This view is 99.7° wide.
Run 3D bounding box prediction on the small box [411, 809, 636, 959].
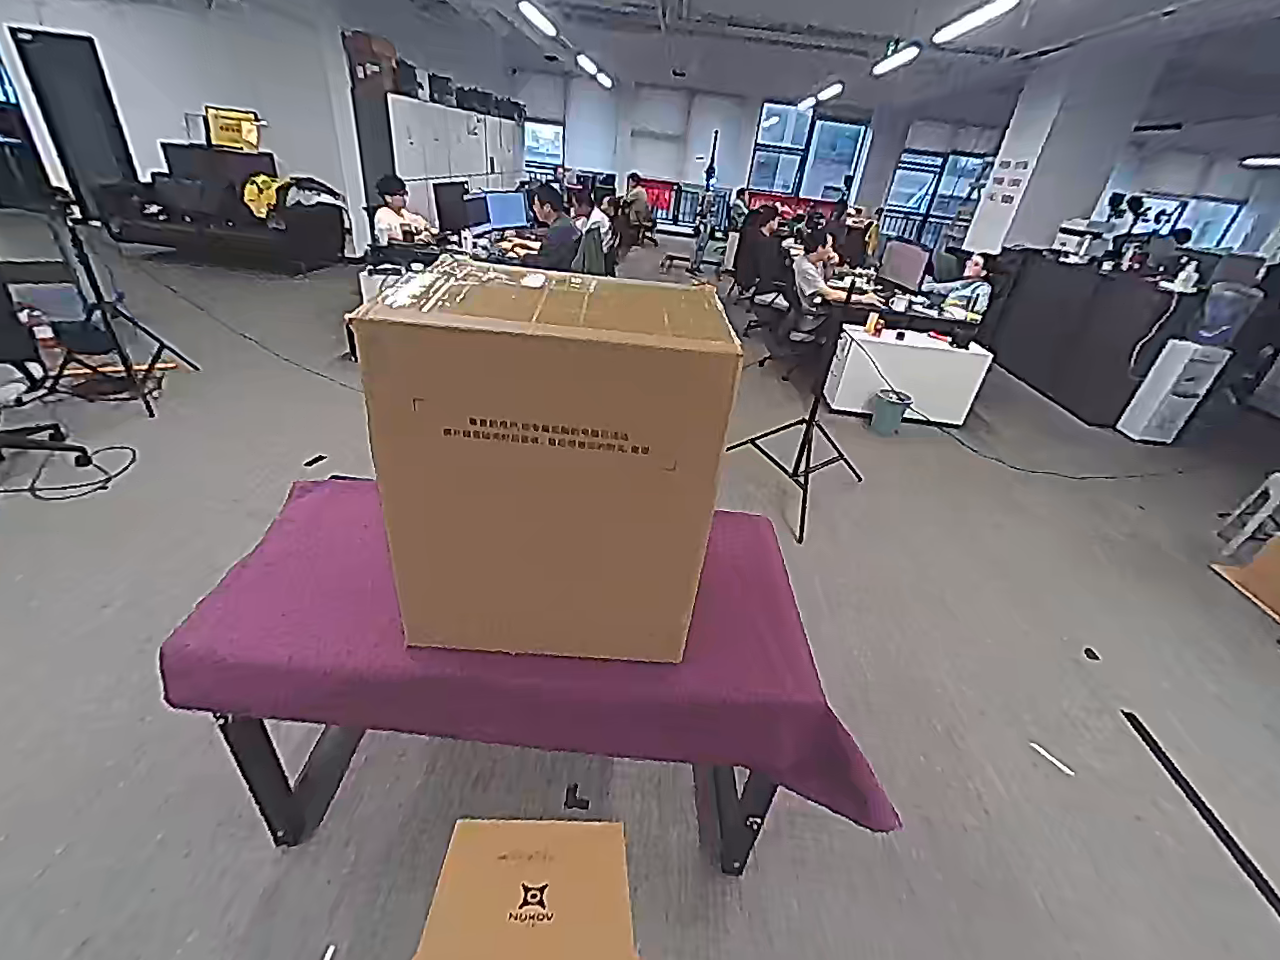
[{"bbox_3d":[-0.096,0.420,0.459,0.168,0.176,0.179,6,7,-7],"label":"small box"}]
